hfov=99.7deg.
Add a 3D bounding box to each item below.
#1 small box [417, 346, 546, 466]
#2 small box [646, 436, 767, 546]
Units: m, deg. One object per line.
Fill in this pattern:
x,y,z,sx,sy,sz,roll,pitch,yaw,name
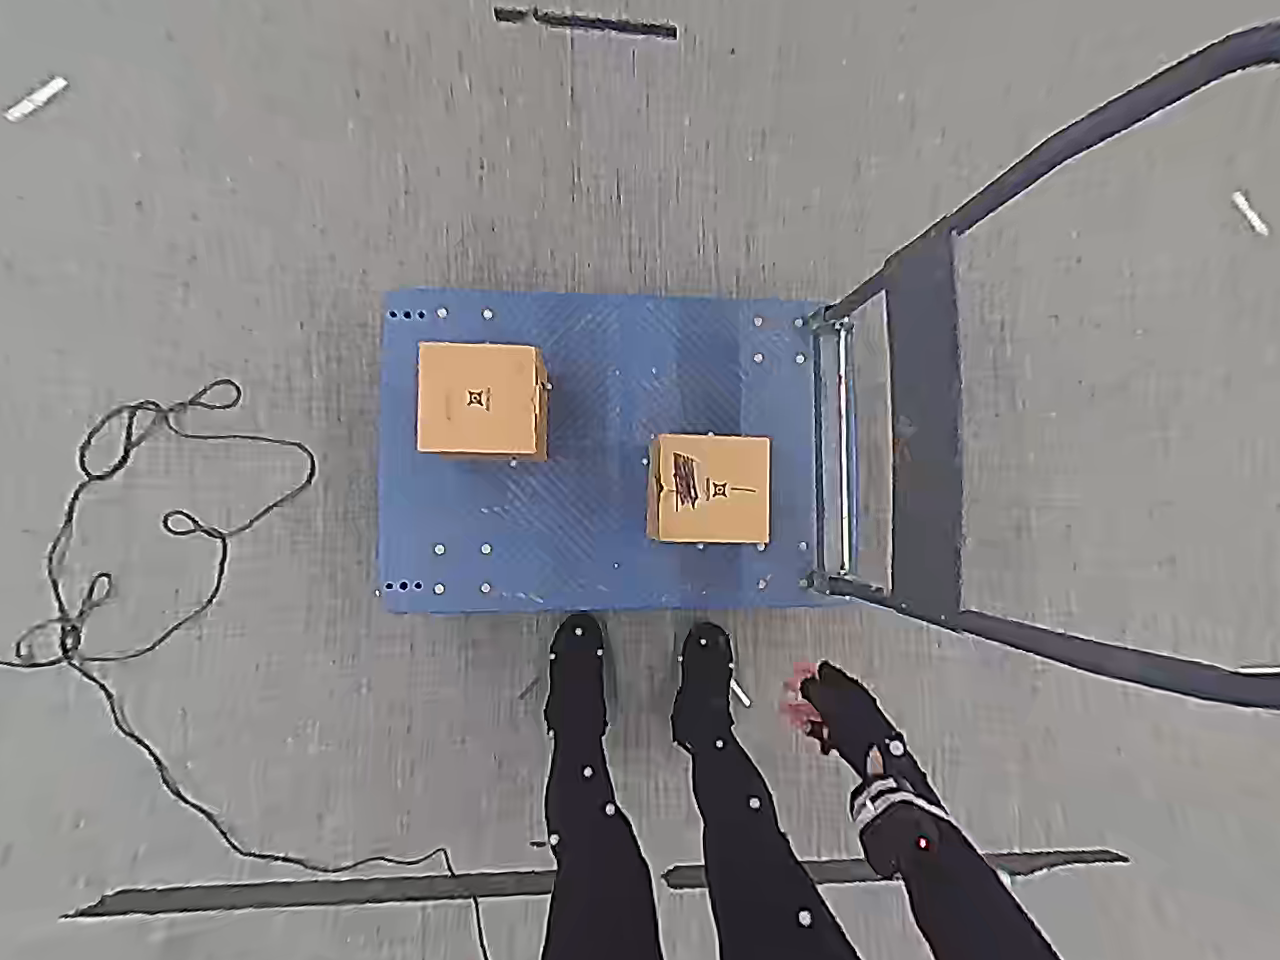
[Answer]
-0.249,-0.113,0.889,0.179,0.176,0.168,0,87,-4,small box
0.103,0.023,0.911,0.179,0.176,0.168,2,87,-5,small box
